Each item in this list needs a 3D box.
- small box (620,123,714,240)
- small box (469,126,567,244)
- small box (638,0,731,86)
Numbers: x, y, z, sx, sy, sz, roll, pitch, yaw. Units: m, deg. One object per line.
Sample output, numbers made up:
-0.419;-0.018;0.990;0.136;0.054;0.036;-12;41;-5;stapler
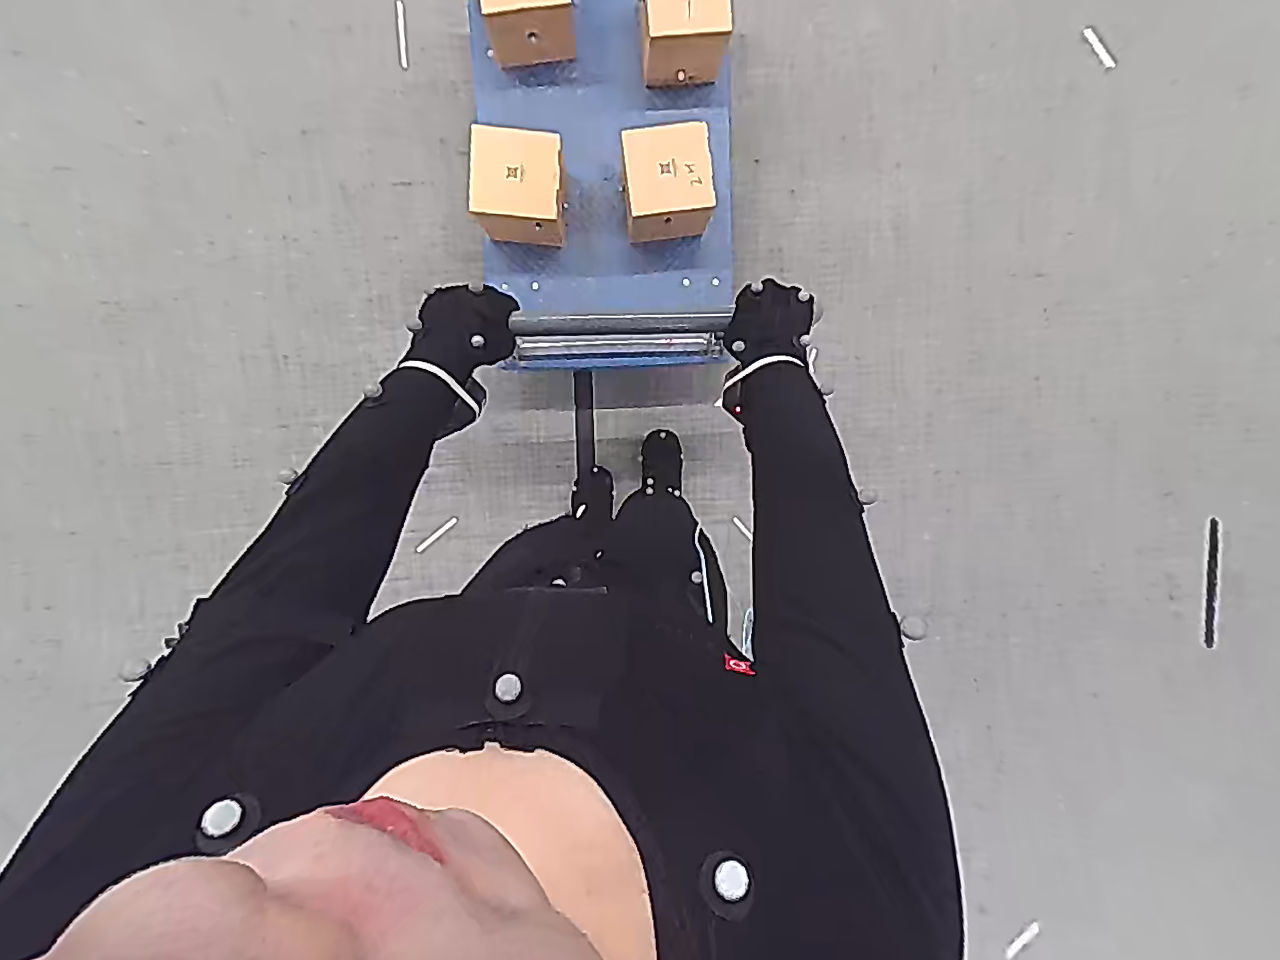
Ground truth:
0.053;-0.632;1.166;0.179;0.176;0.168;-8;97;-2;small box
-0.253;-0.618;1.152;0.179;0.176;0.168;3;96;-5;small box
0.087;-0.967;1.128;0.168;0.176;0.179;-5;98;-2;small box
